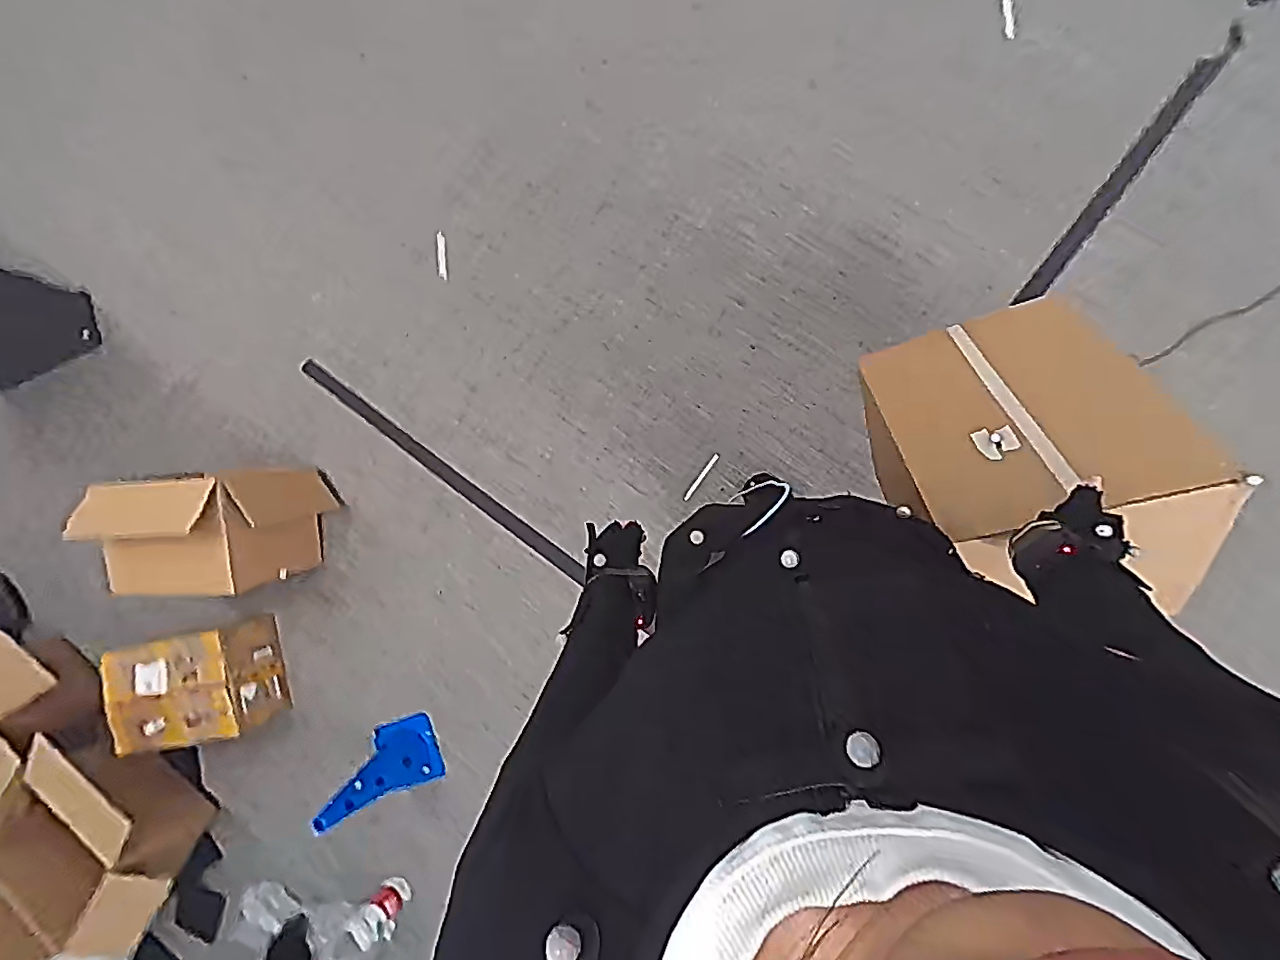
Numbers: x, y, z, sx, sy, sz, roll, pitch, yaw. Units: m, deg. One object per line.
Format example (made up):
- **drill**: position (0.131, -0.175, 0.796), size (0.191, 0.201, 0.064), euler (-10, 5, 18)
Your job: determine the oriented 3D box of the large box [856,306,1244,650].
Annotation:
- **large box**: position (0.571, 0.001, 0.861), size (0.320, 0.320, 0.408), euler (-16, 45, 18)
